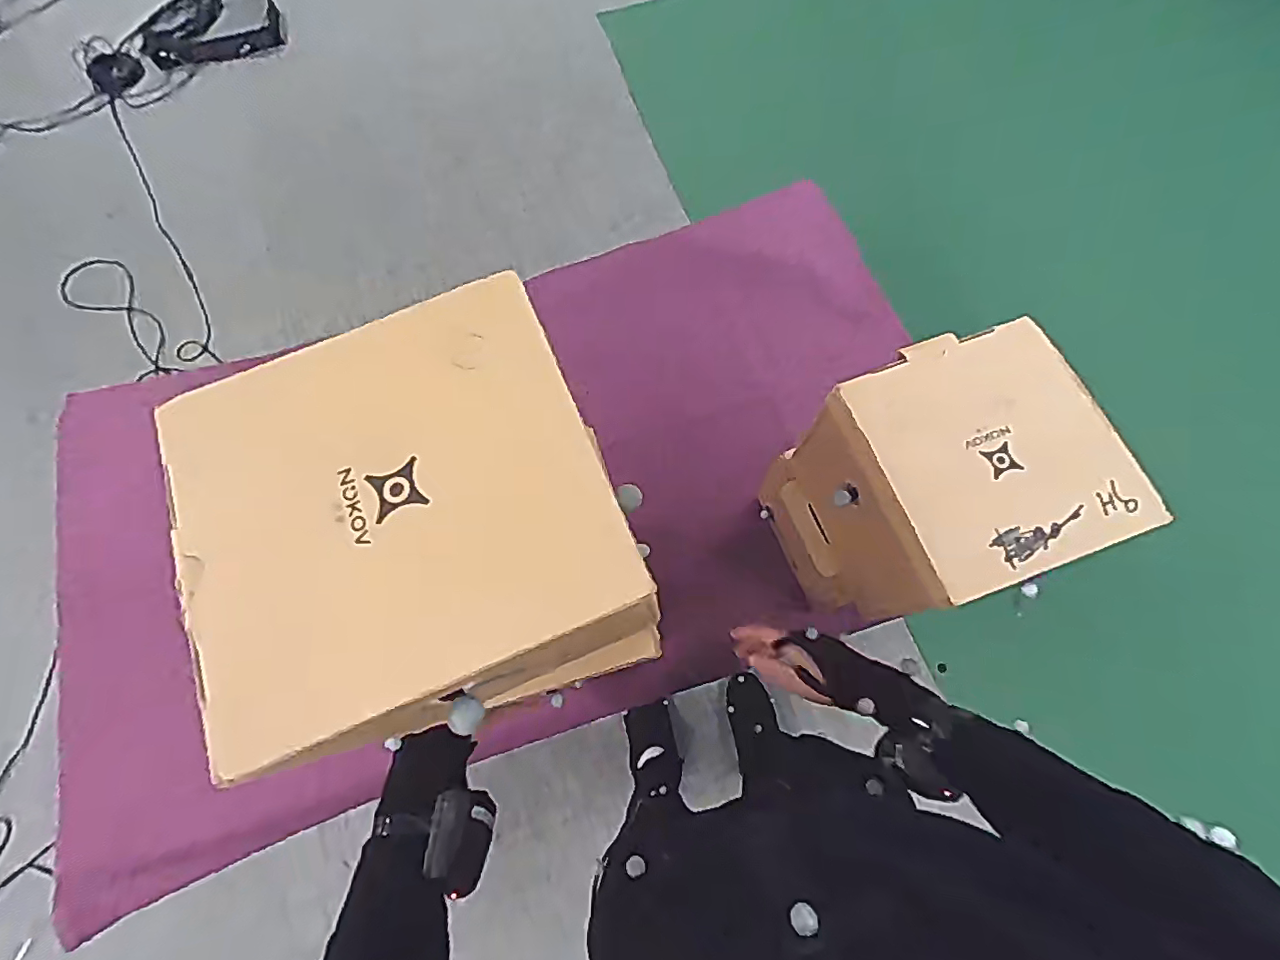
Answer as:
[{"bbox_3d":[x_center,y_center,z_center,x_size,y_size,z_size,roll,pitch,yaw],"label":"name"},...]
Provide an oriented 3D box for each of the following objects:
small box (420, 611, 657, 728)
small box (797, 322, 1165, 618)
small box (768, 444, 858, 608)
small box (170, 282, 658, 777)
[{"bbox_3d":[-0.086,0.086,0.458,0.168,0.176,0.179,-17,72,-2],"label":"small box"},{"bbox_3d":[0.255,0.004,0.463,0.168,0.176,0.179,-20,72,-3],"label":"small box"},{"bbox_3d":[0.261,0.039,0.624,0.179,0.176,0.168,-21,73,-4],"label":"small box"},{"bbox_3d":[-0.099,0.031,0.306,0.179,0.176,0.168,-23,73,-3],"label":"small box"}]
